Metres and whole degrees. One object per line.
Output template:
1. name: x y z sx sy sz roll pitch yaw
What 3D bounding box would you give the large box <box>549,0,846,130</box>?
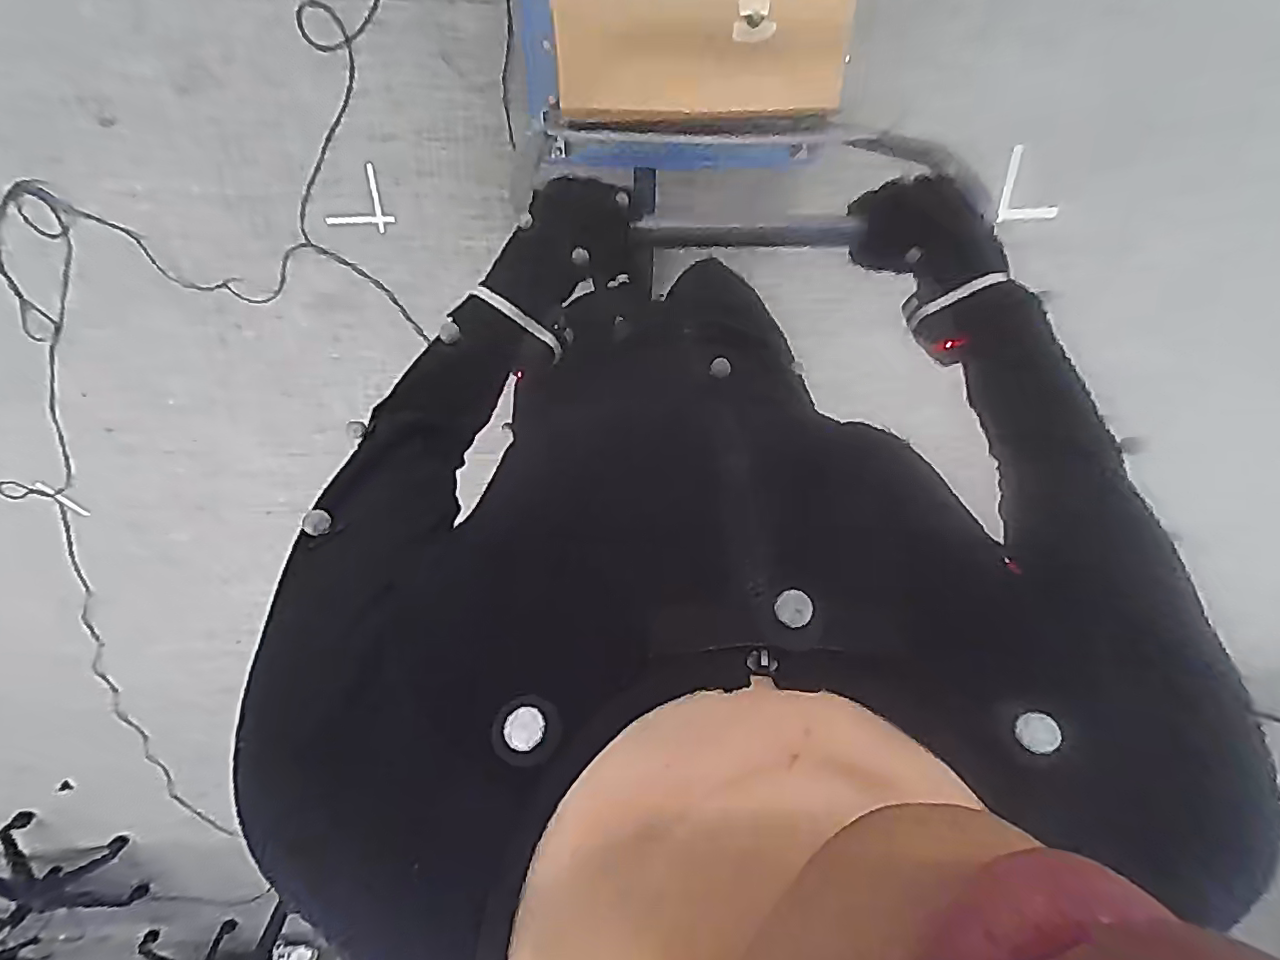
1. large box: 0.066 -0.728 0.824 0.408 0.320 0.320 -4 124 -3
